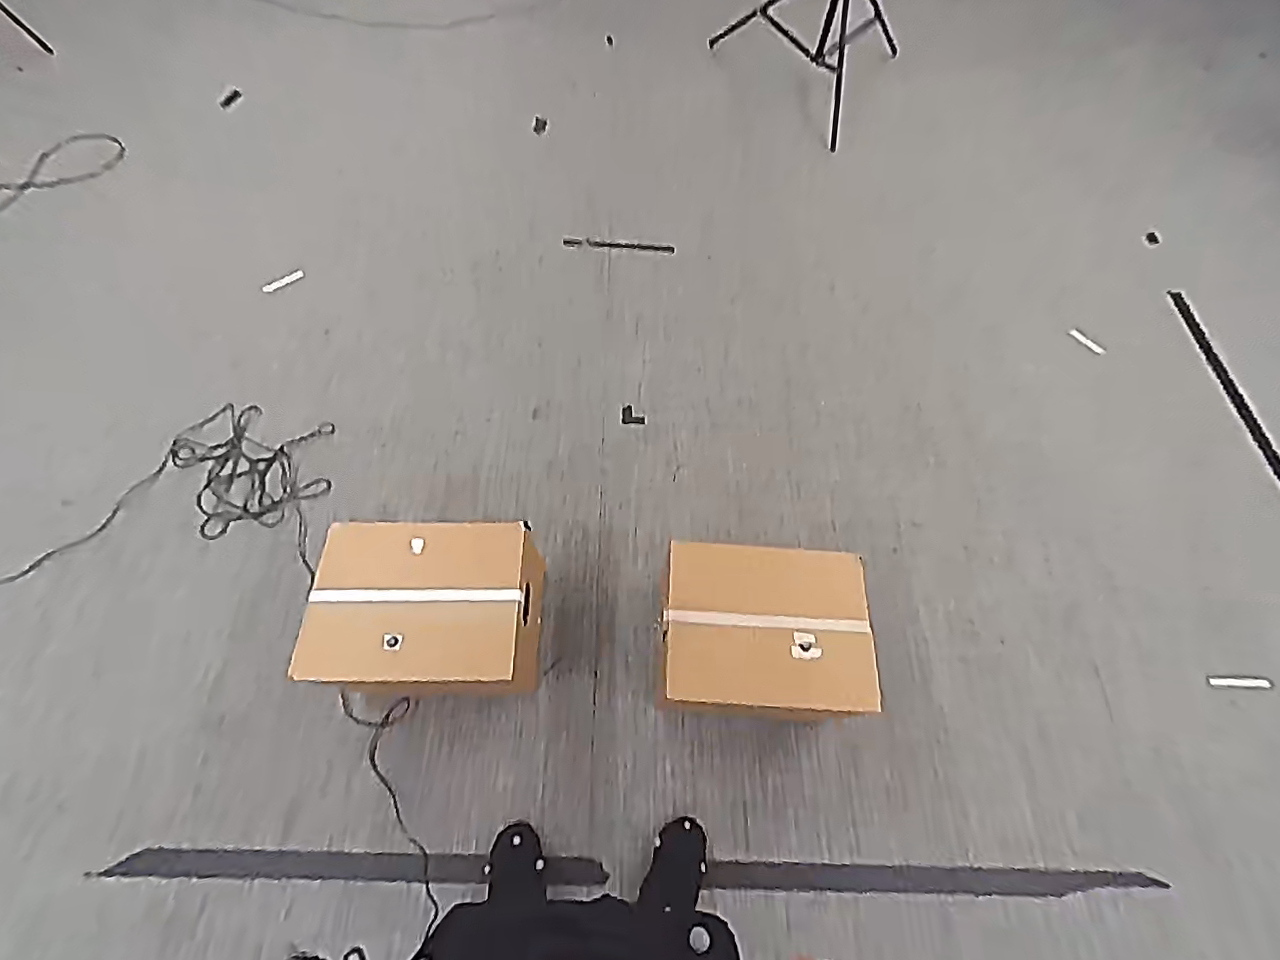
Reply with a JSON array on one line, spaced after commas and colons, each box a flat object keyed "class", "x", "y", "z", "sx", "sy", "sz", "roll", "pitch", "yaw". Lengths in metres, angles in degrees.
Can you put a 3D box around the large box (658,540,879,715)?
[{"class": "large box", "x": 0.252, "y": 0.343, "z": 1.212, "sx": 0.408, "sy": 0.320, "sz": 0.320, "roll": 4, "pitch": 64, "yaw": -1}]
